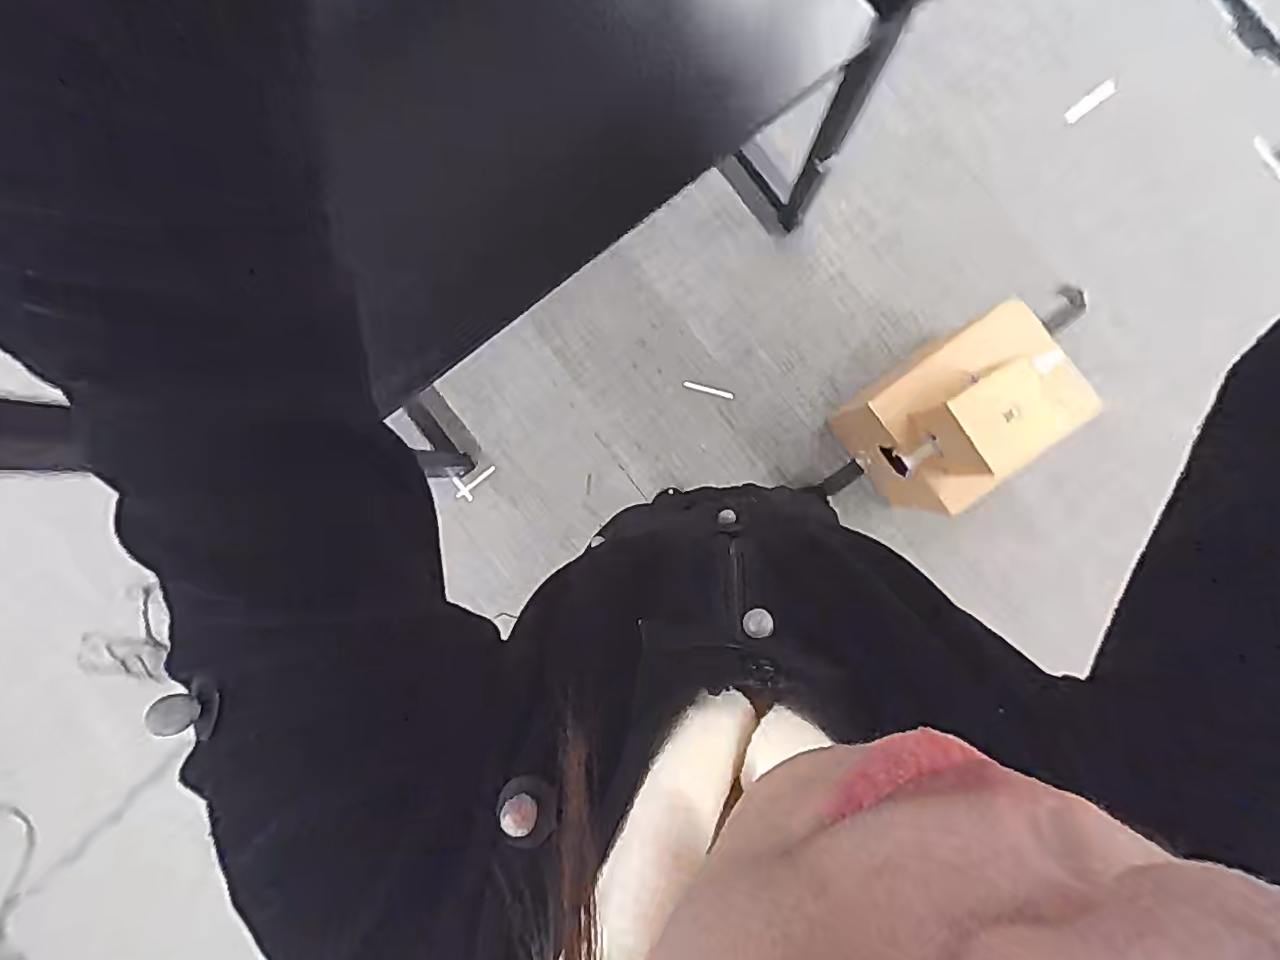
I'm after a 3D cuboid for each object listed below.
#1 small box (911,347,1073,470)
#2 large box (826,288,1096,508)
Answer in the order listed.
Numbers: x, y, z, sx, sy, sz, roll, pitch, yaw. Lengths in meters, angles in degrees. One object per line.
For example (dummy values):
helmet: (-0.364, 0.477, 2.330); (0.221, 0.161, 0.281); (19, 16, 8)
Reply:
small box: (0.687, -0.134, 1.077); (0.179, 0.176, 0.168); (-34, 88, 3)
large box: (0.743, -0.176, 1.321); (0.408, 0.320, 0.320); (-38, 90, 1)
